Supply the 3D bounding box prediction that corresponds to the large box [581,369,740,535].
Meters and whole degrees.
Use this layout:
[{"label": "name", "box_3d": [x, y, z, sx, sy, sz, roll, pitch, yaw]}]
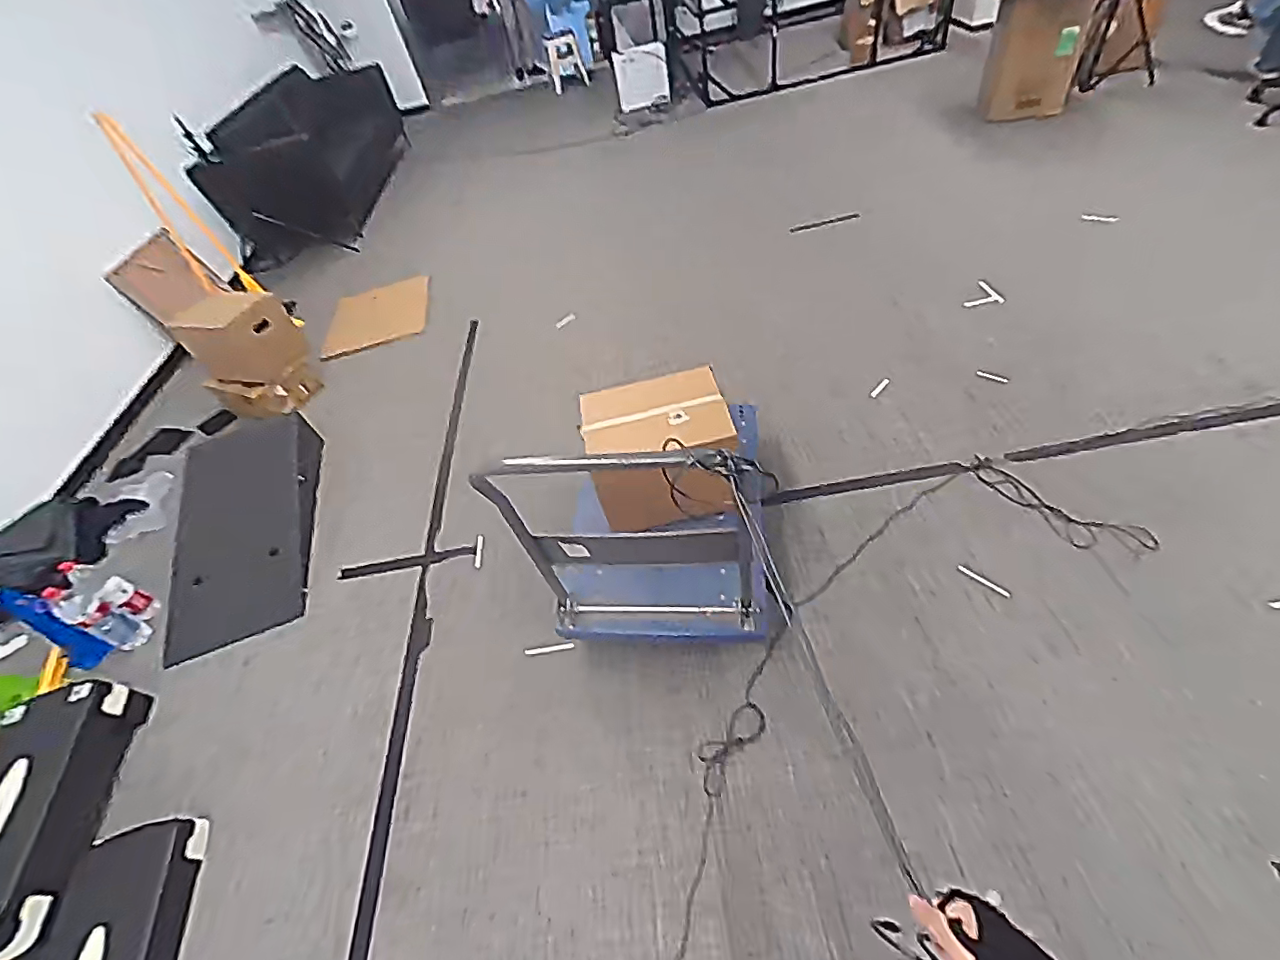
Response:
[{"label": "large box", "box_3d": [0.063, -0.078, 1.613, 0.408, 0.320, 0.320, -13, 49, 2]}]
